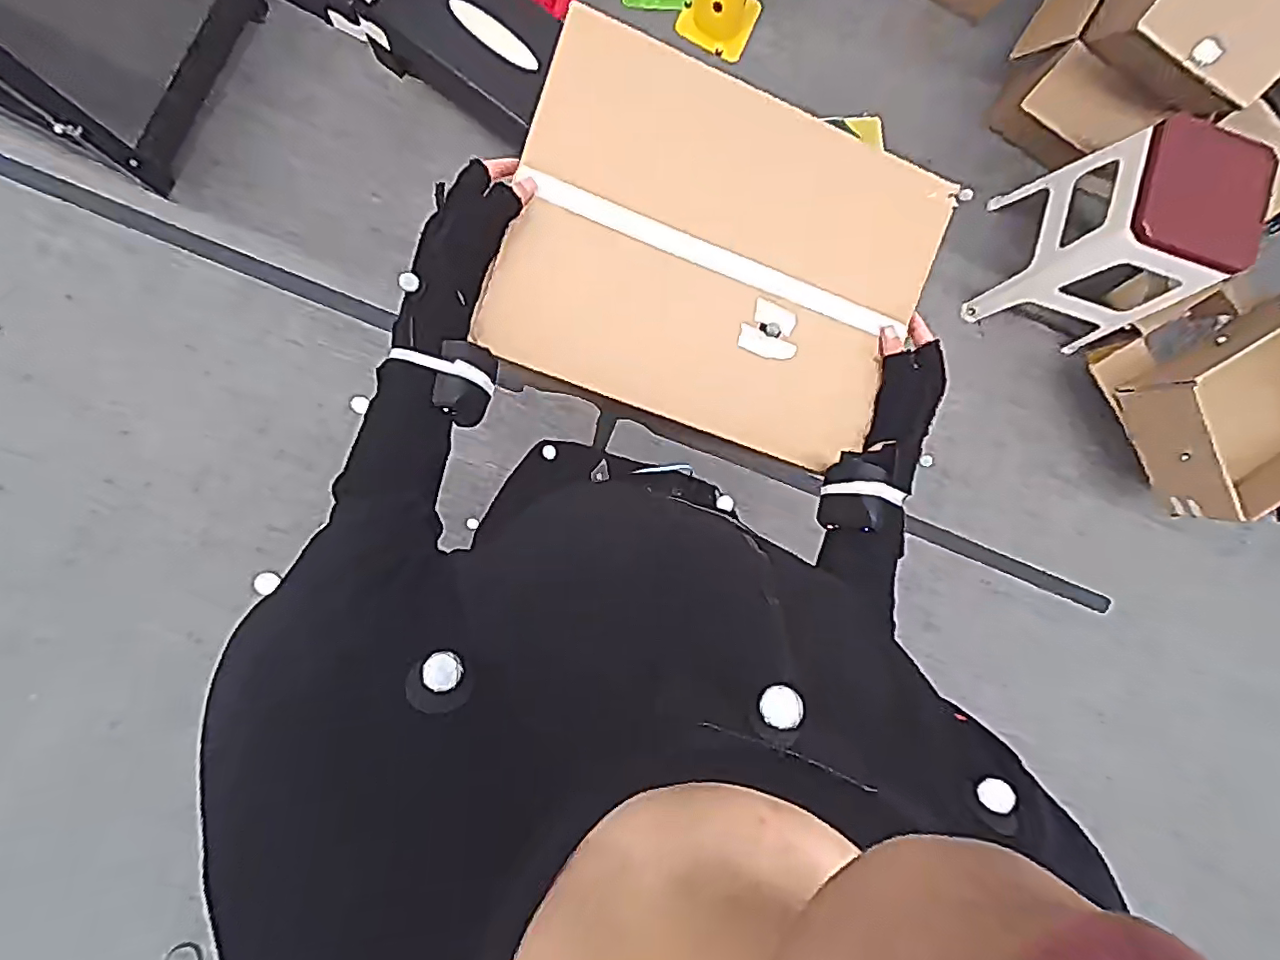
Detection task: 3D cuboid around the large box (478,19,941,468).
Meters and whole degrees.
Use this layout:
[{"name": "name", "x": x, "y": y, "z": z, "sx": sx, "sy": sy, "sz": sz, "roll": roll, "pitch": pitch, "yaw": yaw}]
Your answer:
[{"name": "large box", "x": 0.054, "y": -0.232, "z": 0.675, "sx": 0.408, "sy": 0.320, "sz": 0.320, "roll": 19, "pitch": 95, "yaw": -11}]
